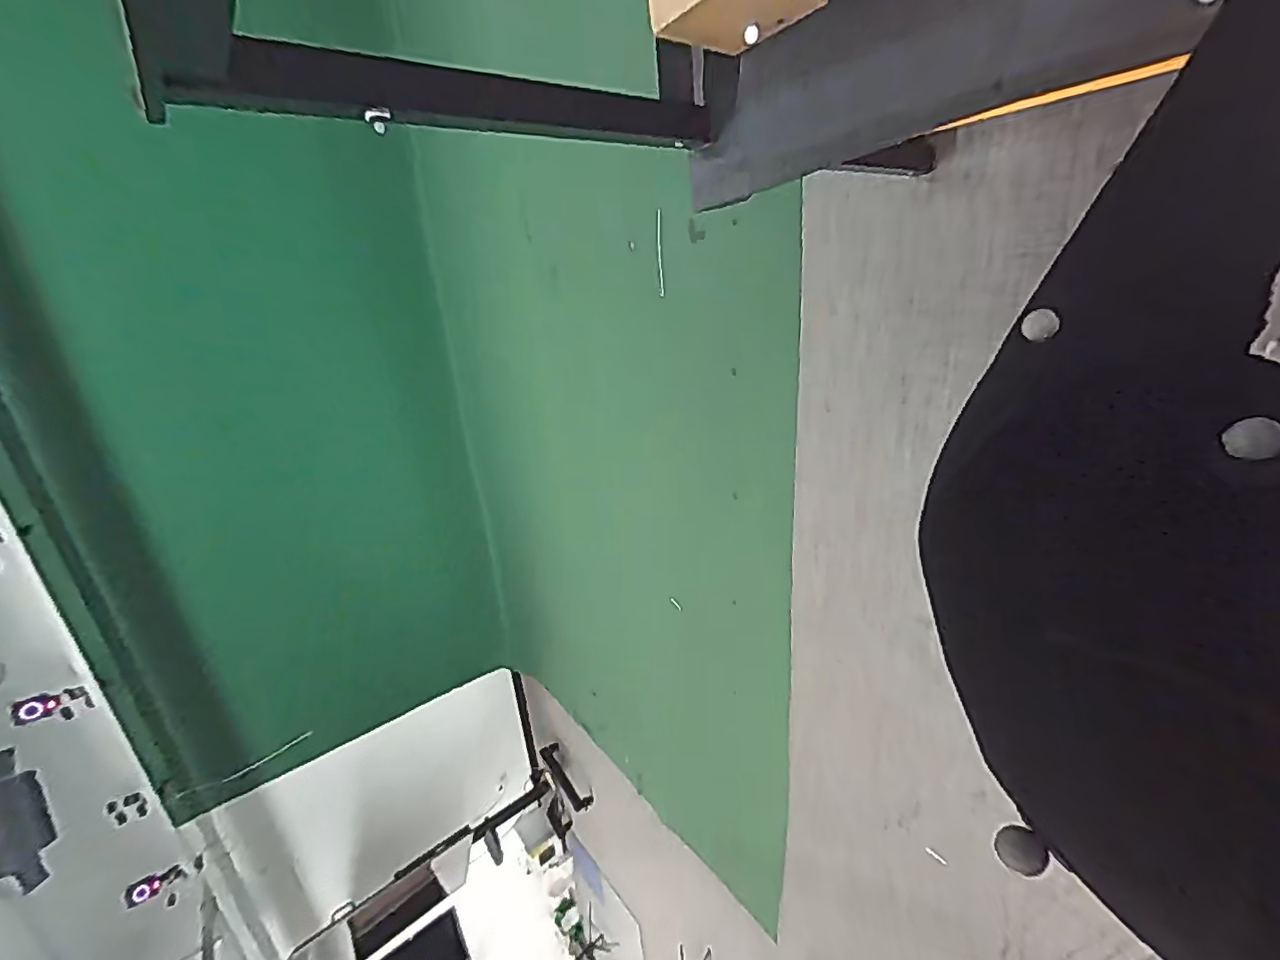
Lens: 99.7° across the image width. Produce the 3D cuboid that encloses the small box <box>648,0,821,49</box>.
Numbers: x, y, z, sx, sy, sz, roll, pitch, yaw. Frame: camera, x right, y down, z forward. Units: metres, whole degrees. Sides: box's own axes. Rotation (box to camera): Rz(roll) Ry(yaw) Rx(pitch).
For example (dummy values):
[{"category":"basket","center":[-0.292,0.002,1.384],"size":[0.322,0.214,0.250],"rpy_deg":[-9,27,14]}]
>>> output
[{"category":"small box","center":[0.121,-0.694,0.687],"size":[0.168,0.176,0.179],"rpy_deg":[16,119,50]}]
